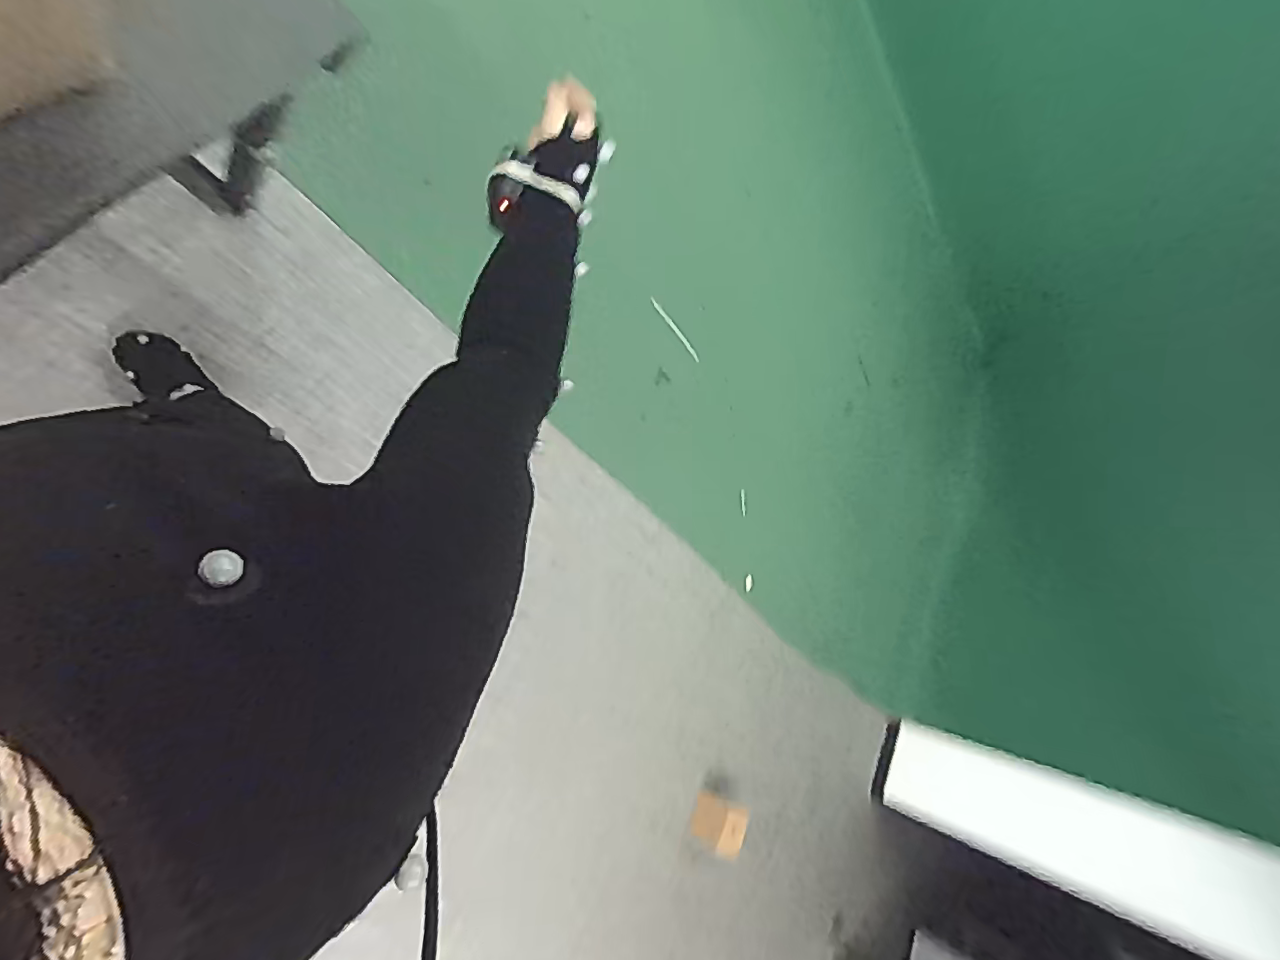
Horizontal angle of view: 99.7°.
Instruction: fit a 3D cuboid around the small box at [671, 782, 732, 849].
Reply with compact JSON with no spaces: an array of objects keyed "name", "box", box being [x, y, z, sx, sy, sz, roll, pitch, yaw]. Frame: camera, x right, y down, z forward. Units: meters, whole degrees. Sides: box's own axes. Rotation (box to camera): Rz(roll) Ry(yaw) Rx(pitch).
[{"name":"small box","box":[0.253,1.407,2.272,0.168,0.176,0.179,40,66,-36]}]
